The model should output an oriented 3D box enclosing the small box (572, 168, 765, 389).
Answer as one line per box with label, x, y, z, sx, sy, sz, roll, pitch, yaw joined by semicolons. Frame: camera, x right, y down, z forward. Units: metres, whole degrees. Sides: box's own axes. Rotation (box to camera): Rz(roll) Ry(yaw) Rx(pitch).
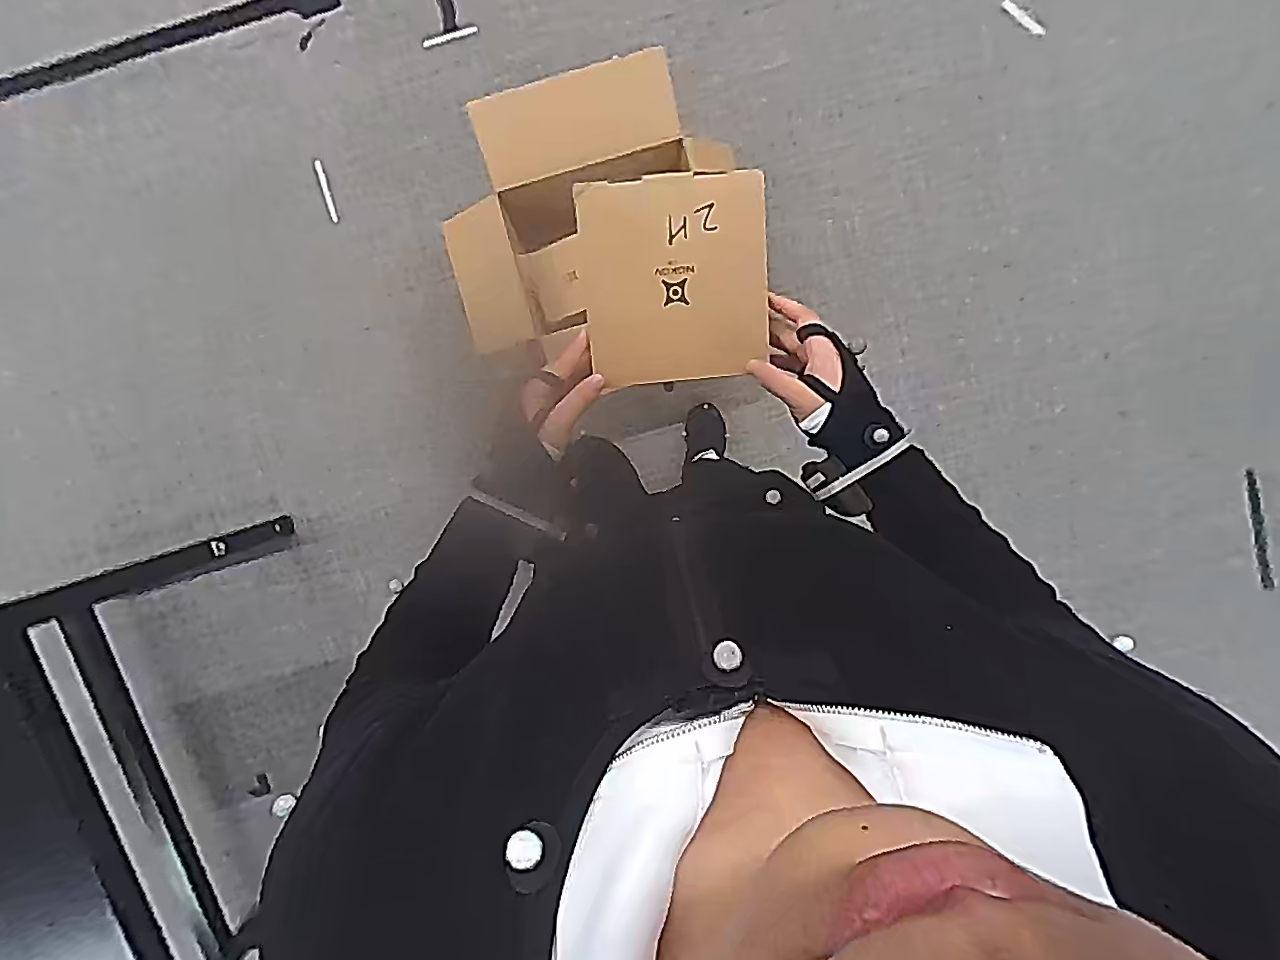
small box;0.026;-0.195;0.558;0.168;0.176;0.179;-6;104;-1
